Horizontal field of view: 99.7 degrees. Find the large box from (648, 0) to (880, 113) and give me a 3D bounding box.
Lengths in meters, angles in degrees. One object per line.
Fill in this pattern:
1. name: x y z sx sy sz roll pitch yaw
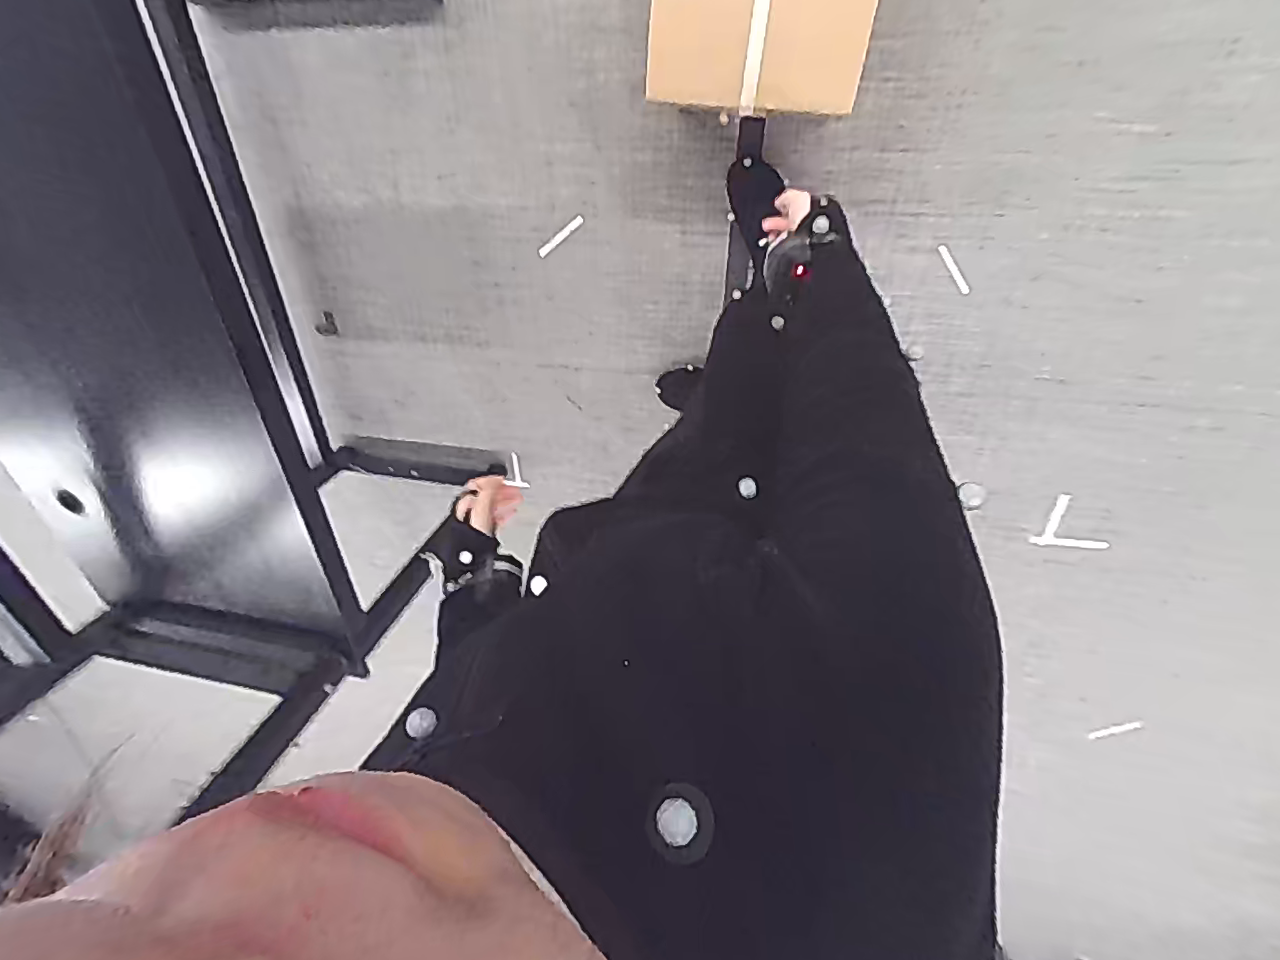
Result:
1. large box: 0.204 -0.808 0.819 0.320 0.320 0.408 9 123 7
